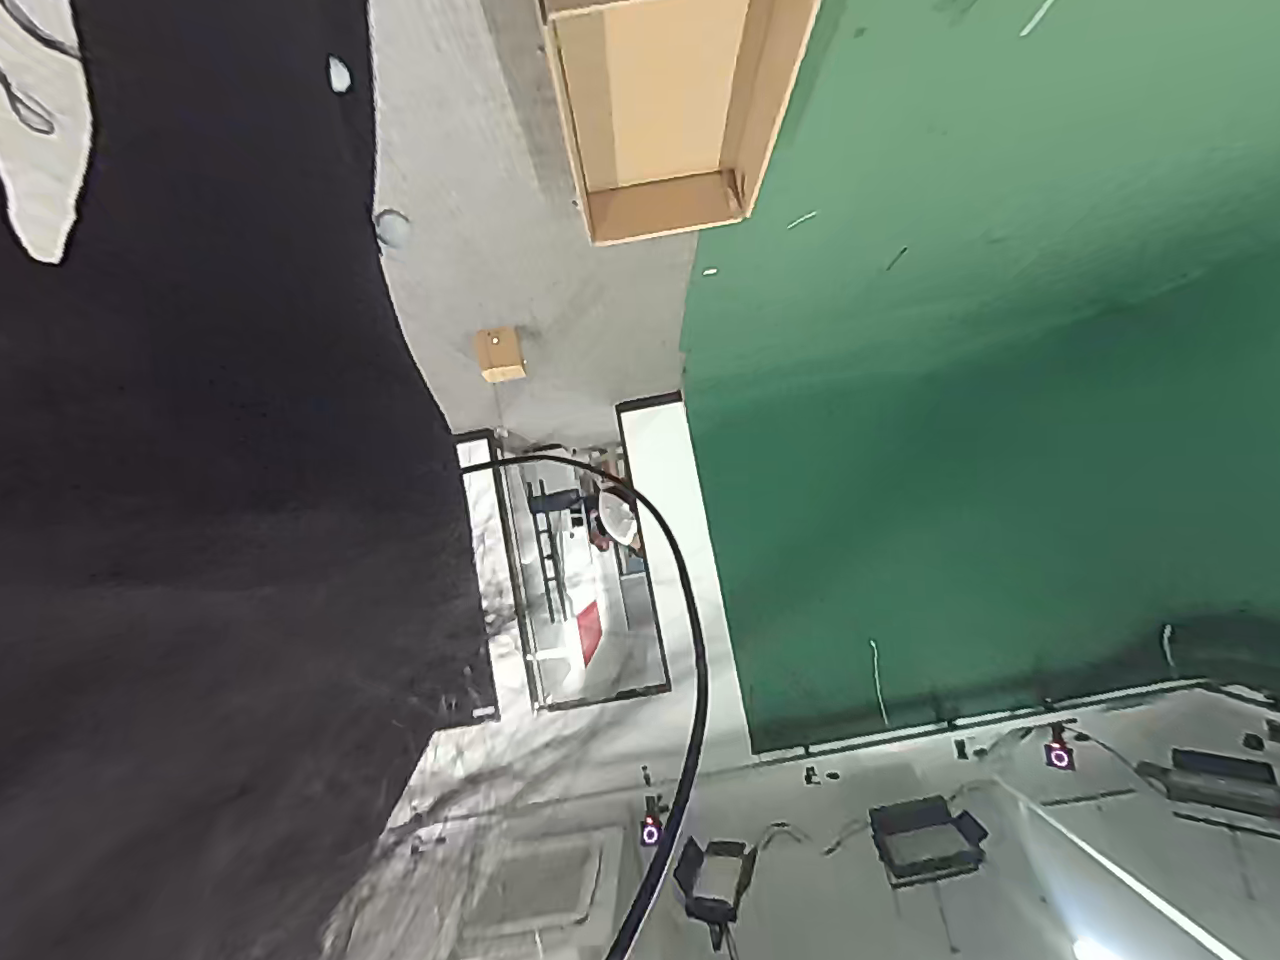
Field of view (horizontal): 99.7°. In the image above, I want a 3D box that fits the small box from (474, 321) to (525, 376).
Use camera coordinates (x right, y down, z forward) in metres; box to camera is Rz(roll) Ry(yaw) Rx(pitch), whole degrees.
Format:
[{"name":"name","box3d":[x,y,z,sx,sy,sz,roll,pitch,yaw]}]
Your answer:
[{"name":"small box","box3d":[-0.576,-0.541,2.229,0.168,0.176,0.179,-11,176,-5]}]
